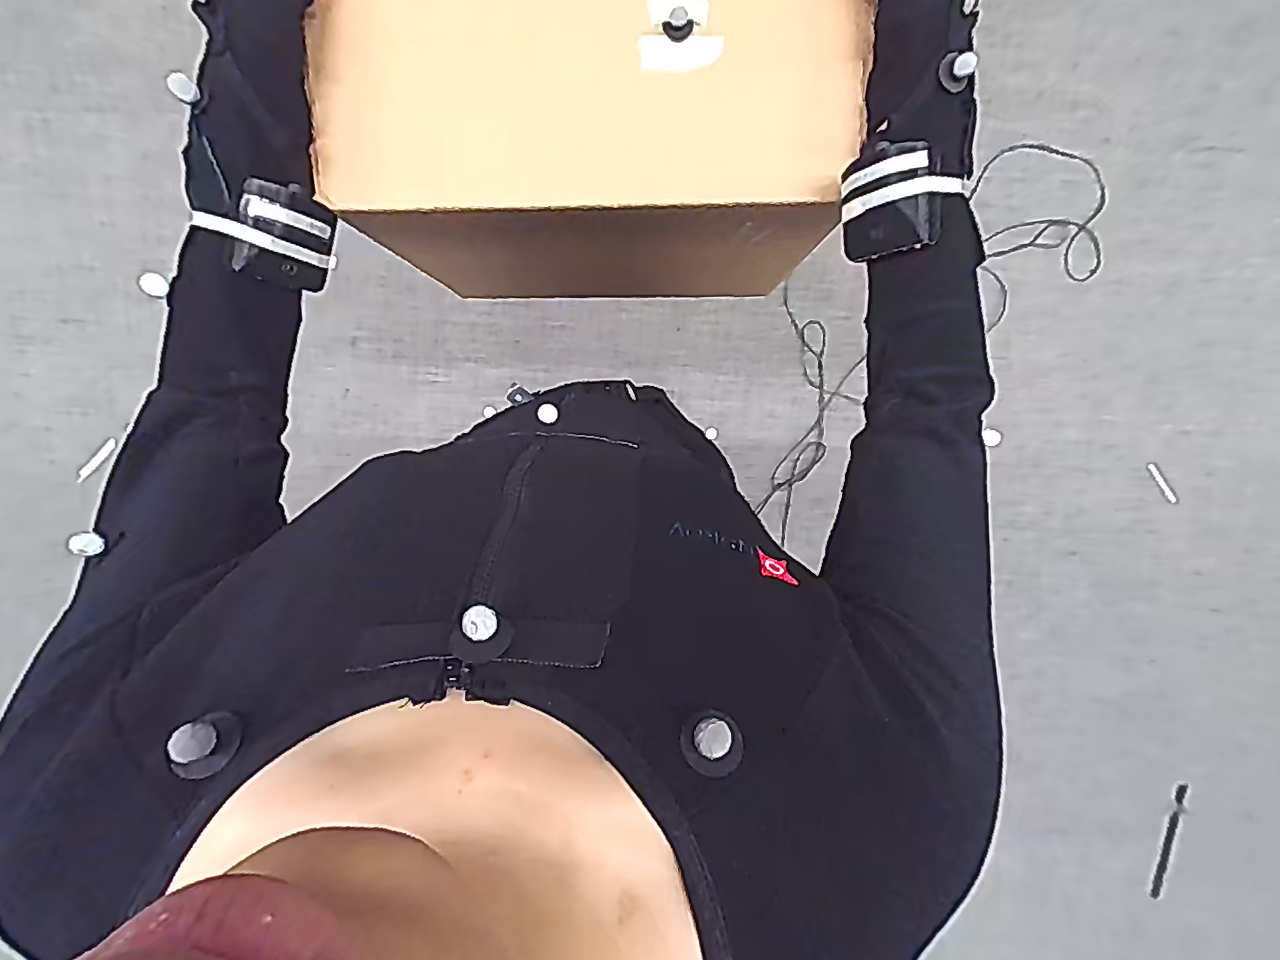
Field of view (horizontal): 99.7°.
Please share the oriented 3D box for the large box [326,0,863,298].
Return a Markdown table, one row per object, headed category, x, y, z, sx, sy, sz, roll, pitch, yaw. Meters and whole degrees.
| category | x | y | z | sx | sy | sz | roll | pitch | yaw |
| --- | --- | --- | --- | --- | --- | --- | --- | --- | --- |
| large box | -0.034 | -0.381 | 0.545 | 0.408 | 0.320 | 0.320 | -1 | 97 | 1 |
